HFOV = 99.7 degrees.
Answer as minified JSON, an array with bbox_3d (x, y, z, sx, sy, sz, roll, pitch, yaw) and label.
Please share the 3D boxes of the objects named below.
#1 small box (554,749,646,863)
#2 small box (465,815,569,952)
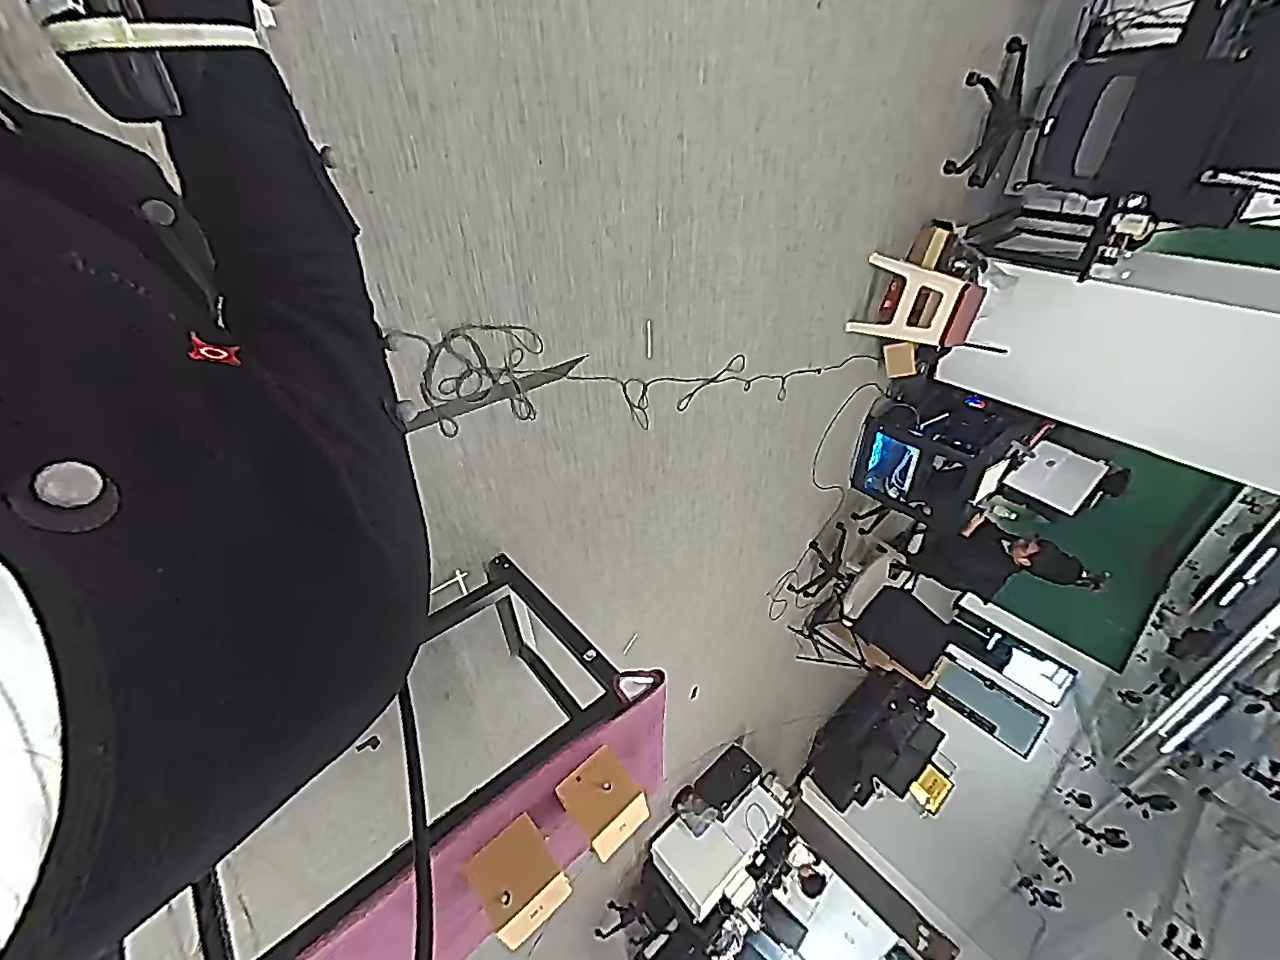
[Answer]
[{"bbox_3d":[-0.106,0.847,1.419,0.168,0.176,0.179,-33,137,-26],"label":"small box"},{"bbox_3d":[-0.297,0.953,1.286,0.179,0.176,0.168,-31,137,-28],"label":"small box"}]
